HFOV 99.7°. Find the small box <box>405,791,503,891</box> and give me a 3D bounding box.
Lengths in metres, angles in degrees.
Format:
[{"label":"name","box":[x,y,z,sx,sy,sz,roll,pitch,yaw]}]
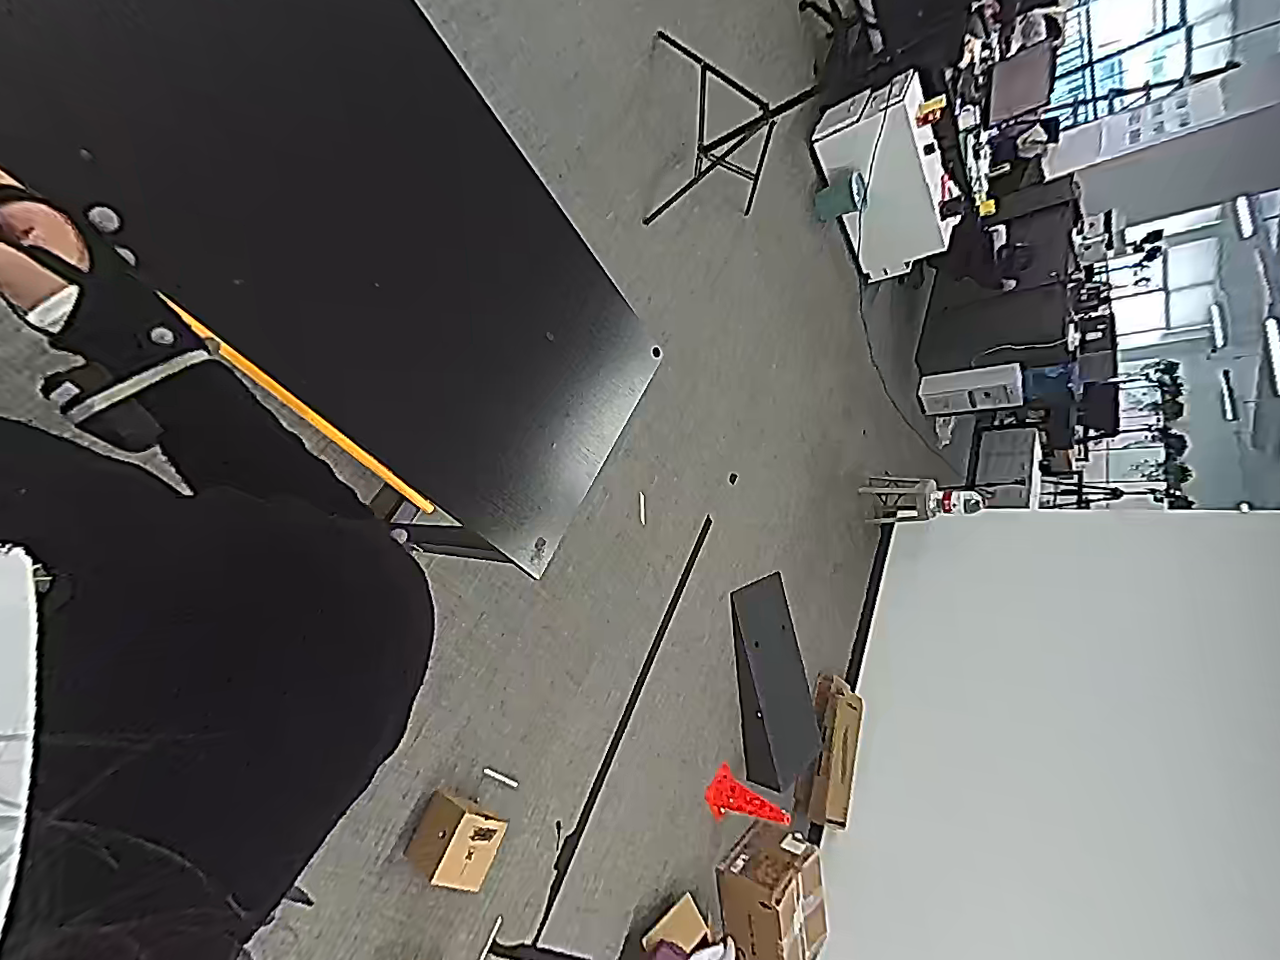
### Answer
[{"label":"small box","box":[-0.529,1.013,1.528,0.168,0.176,0.179,45,58,-36]}]
